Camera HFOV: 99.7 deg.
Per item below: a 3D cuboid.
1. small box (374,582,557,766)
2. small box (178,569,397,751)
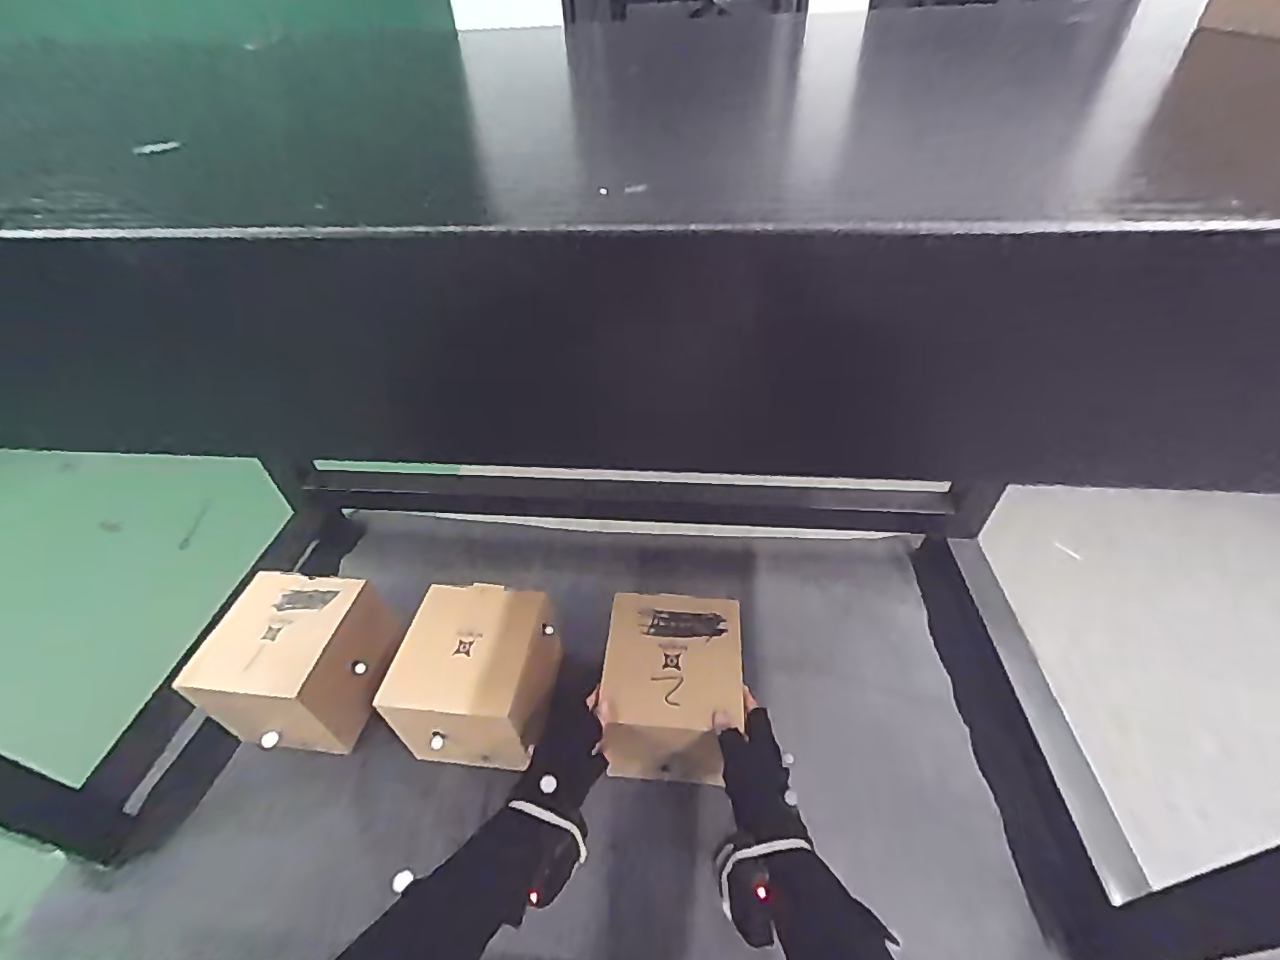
[{"bbox_3d":[-0.218,0.264,0.735,0.168,0.176,0.179,3,42,6],"label":"small box"},{"bbox_3d":[-0.469,0.251,0.759,0.168,0.176,0.179,3,43,6],"label":"small box"}]
